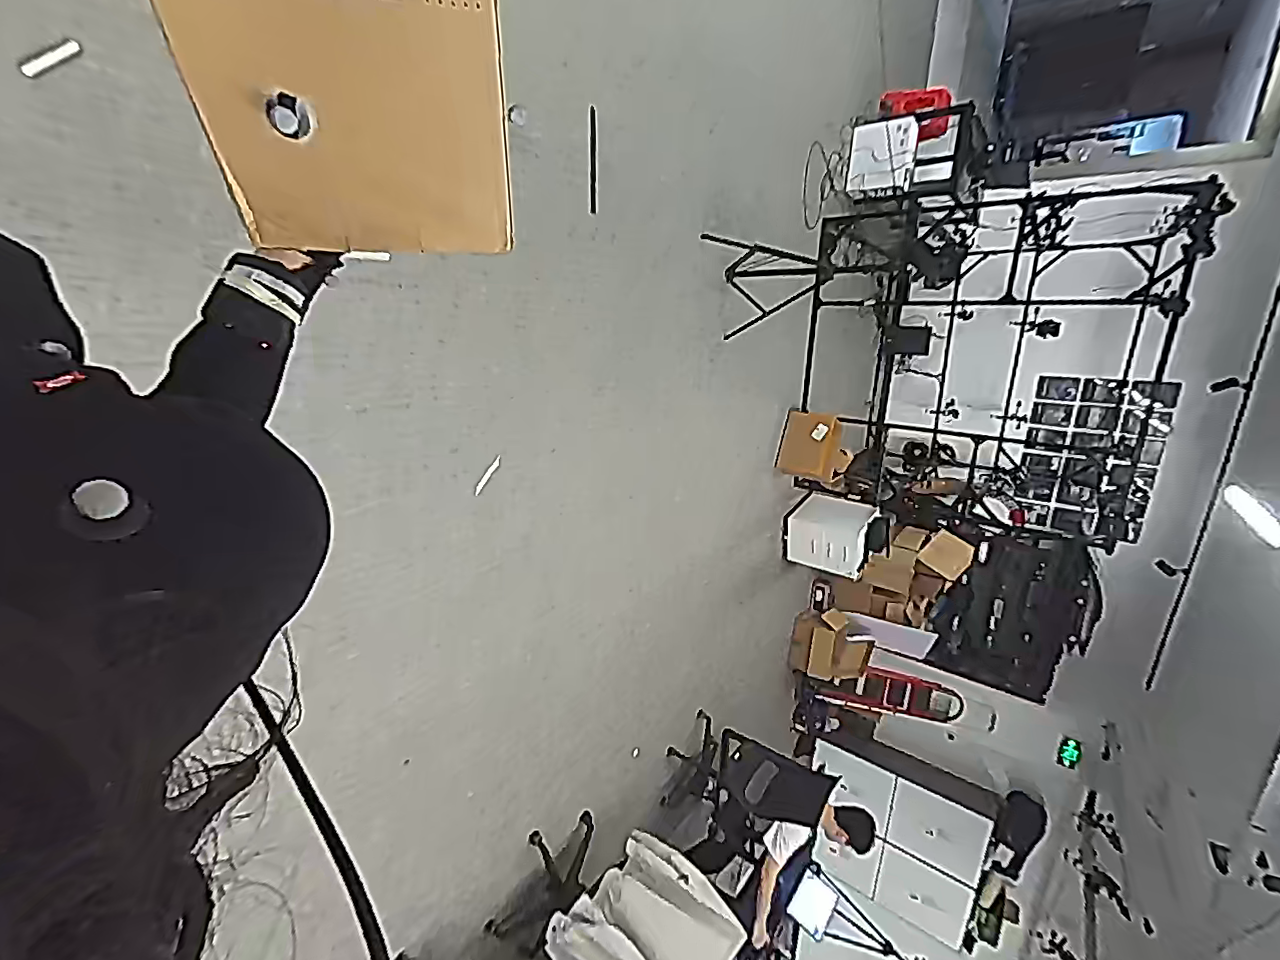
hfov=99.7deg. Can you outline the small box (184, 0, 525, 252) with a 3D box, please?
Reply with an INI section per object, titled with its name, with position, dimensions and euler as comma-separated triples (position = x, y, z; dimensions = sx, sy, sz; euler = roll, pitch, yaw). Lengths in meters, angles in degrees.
[small box]
position = -0.167, -0.272, 0.359
dimensions = 0.168, 0.179, 0.176
euler = -2, 136, -13
